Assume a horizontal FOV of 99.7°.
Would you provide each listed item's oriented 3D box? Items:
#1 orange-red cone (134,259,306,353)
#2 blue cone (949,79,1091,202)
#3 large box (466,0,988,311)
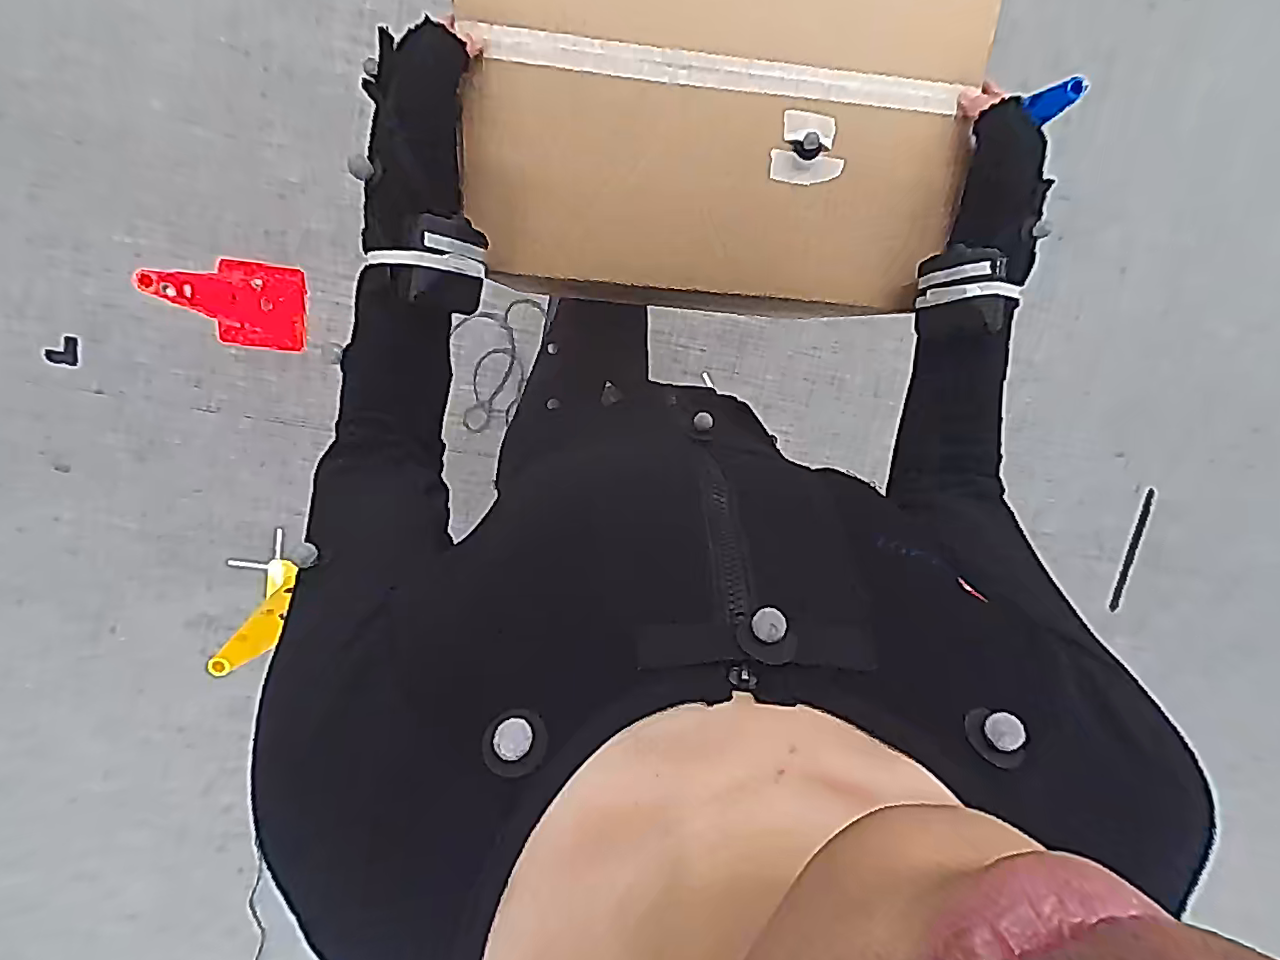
[{"bbox_3d":[-0.897,-0.384,1.137,0.198,0.360,0.199,8,101,-6],"label":"orange-red cone"},{"bbox_3d":[0.839,-0.804,1.239,0.192,0.380,0.193,13,99,-9],"label":"blue cone"},{"bbox_3d":[0.054,-0.355,0.560,0.408,0.320,0.320,3,105,-6],"label":"large box"}]
